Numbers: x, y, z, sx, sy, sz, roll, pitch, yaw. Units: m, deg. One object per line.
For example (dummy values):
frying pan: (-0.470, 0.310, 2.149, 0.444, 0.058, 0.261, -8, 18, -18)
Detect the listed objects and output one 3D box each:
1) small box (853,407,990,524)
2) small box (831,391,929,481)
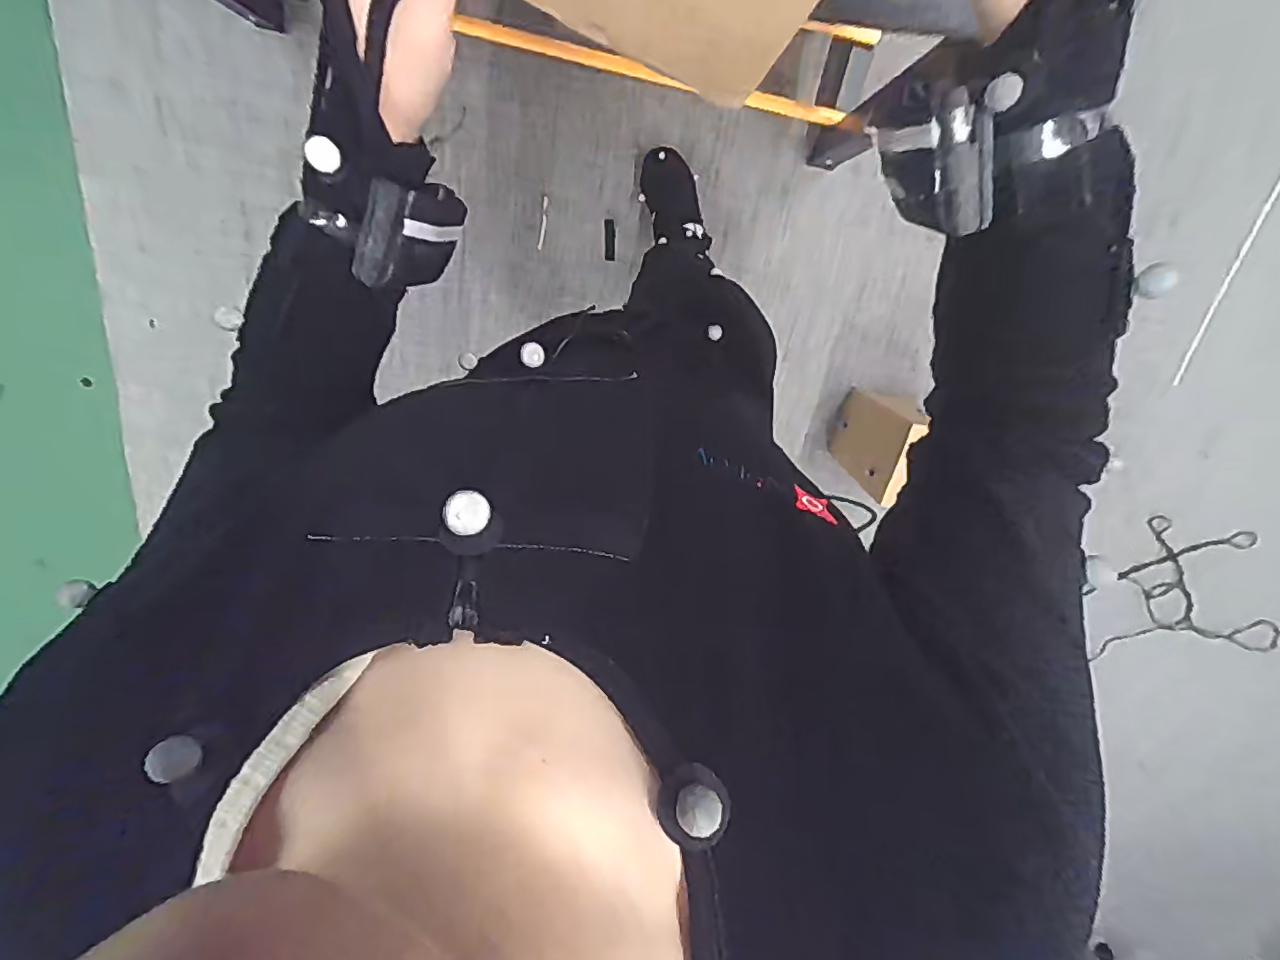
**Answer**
small box: (0.560, -0.034, 1.109, 0.168, 0.176, 0.179, 10, 110, -4)
small box: (0.566, -0.091, 1.262, 0.168, 0.176, 0.179, 13, 112, -5)
